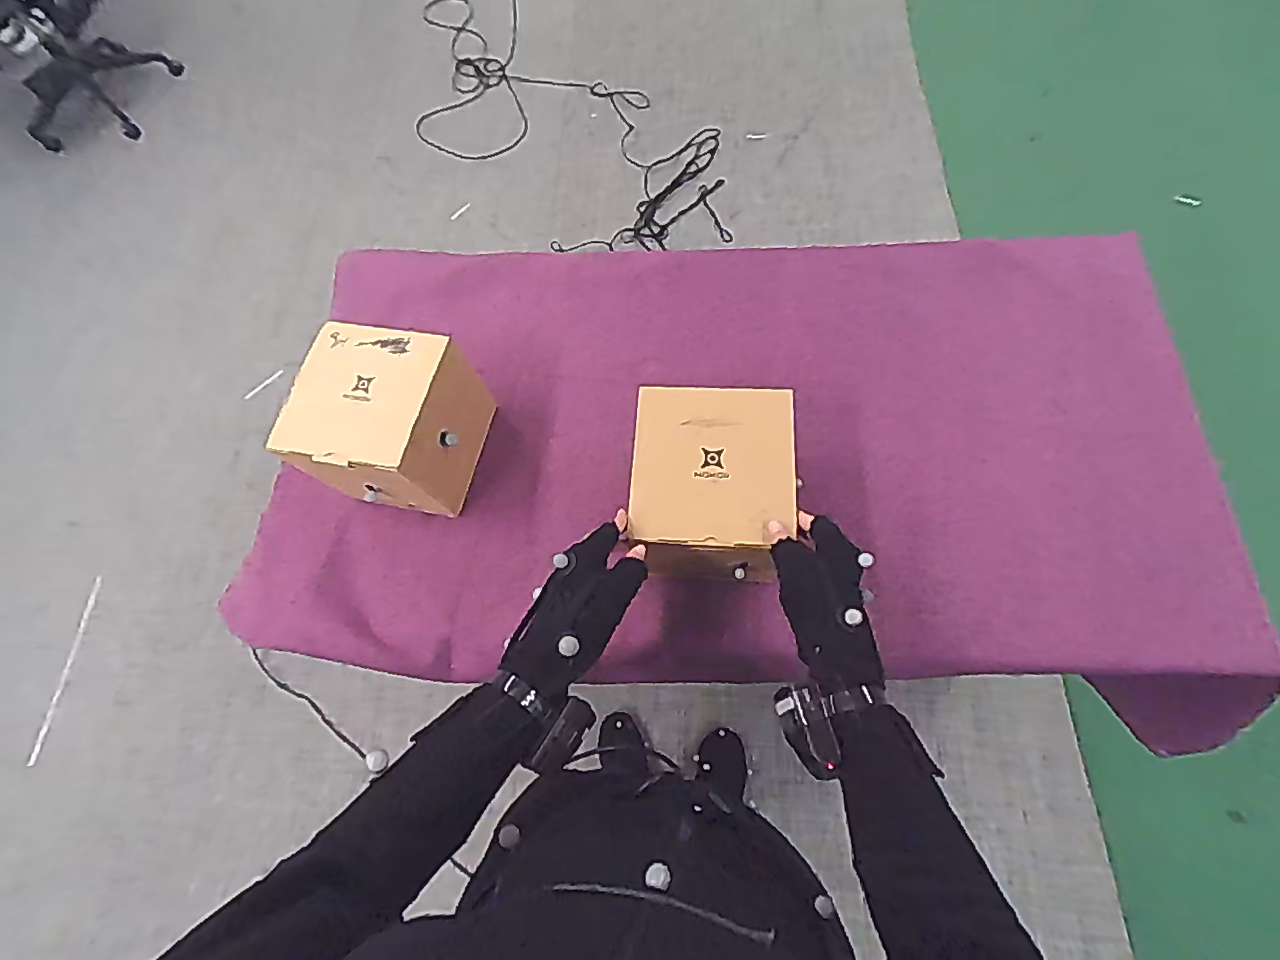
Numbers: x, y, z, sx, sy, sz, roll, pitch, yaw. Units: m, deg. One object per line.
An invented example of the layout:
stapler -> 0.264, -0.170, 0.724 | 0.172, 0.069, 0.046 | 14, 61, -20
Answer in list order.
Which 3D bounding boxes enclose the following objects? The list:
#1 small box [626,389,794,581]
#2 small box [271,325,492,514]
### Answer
small box -> 0.081, 0.014, 0.623 | 0.168, 0.176, 0.179 | 3, 68, 6
small box -> -0.308, -0.068, 0.691 | 0.168, 0.176, 0.179 | 9, 70, 8
